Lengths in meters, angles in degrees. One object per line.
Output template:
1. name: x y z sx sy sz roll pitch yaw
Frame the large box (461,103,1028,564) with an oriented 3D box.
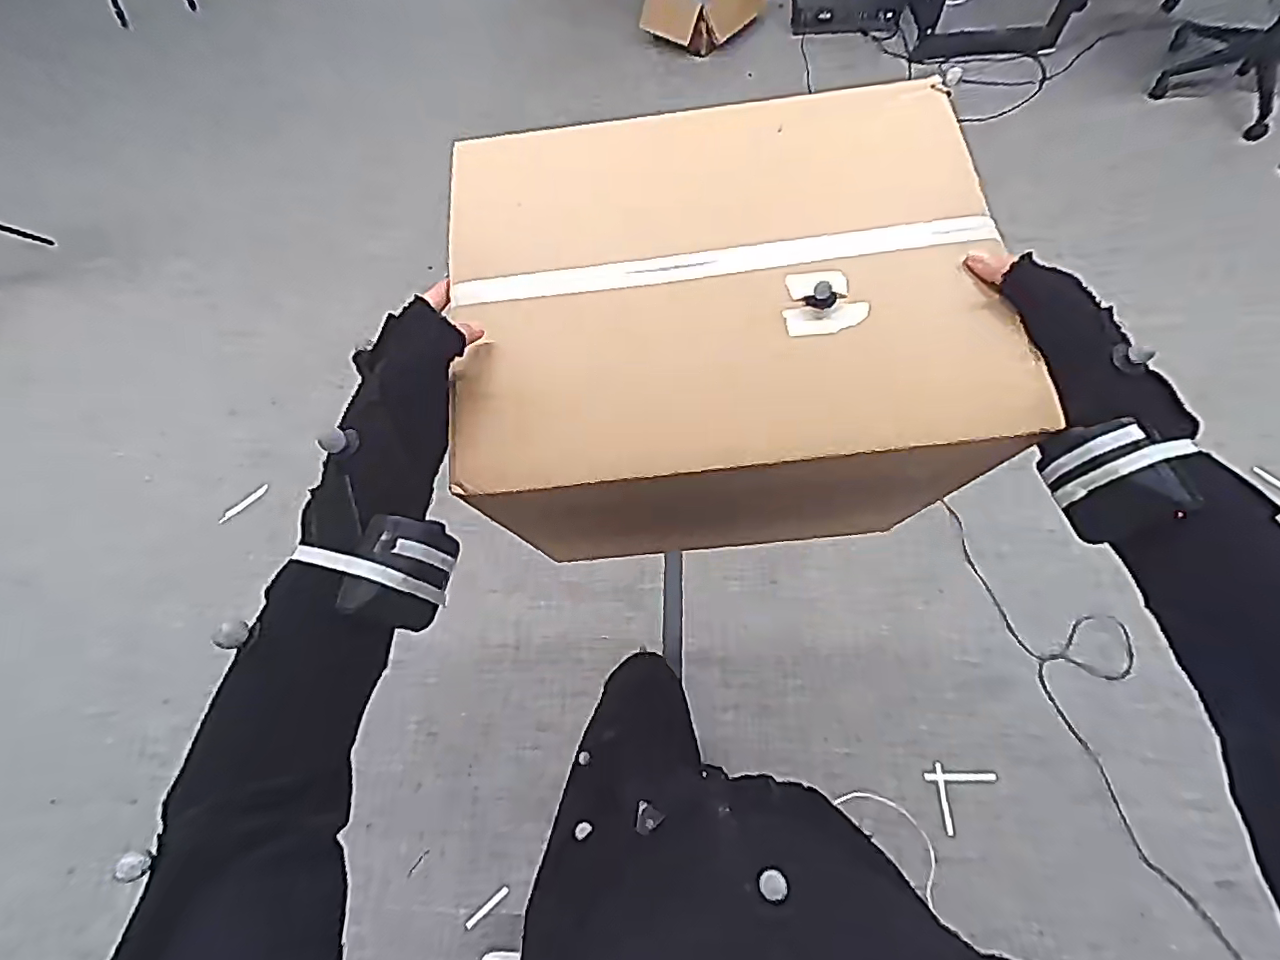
1. large box: 0.065 -0.109 0.562 0.408 0.320 0.320 -7 73 2
